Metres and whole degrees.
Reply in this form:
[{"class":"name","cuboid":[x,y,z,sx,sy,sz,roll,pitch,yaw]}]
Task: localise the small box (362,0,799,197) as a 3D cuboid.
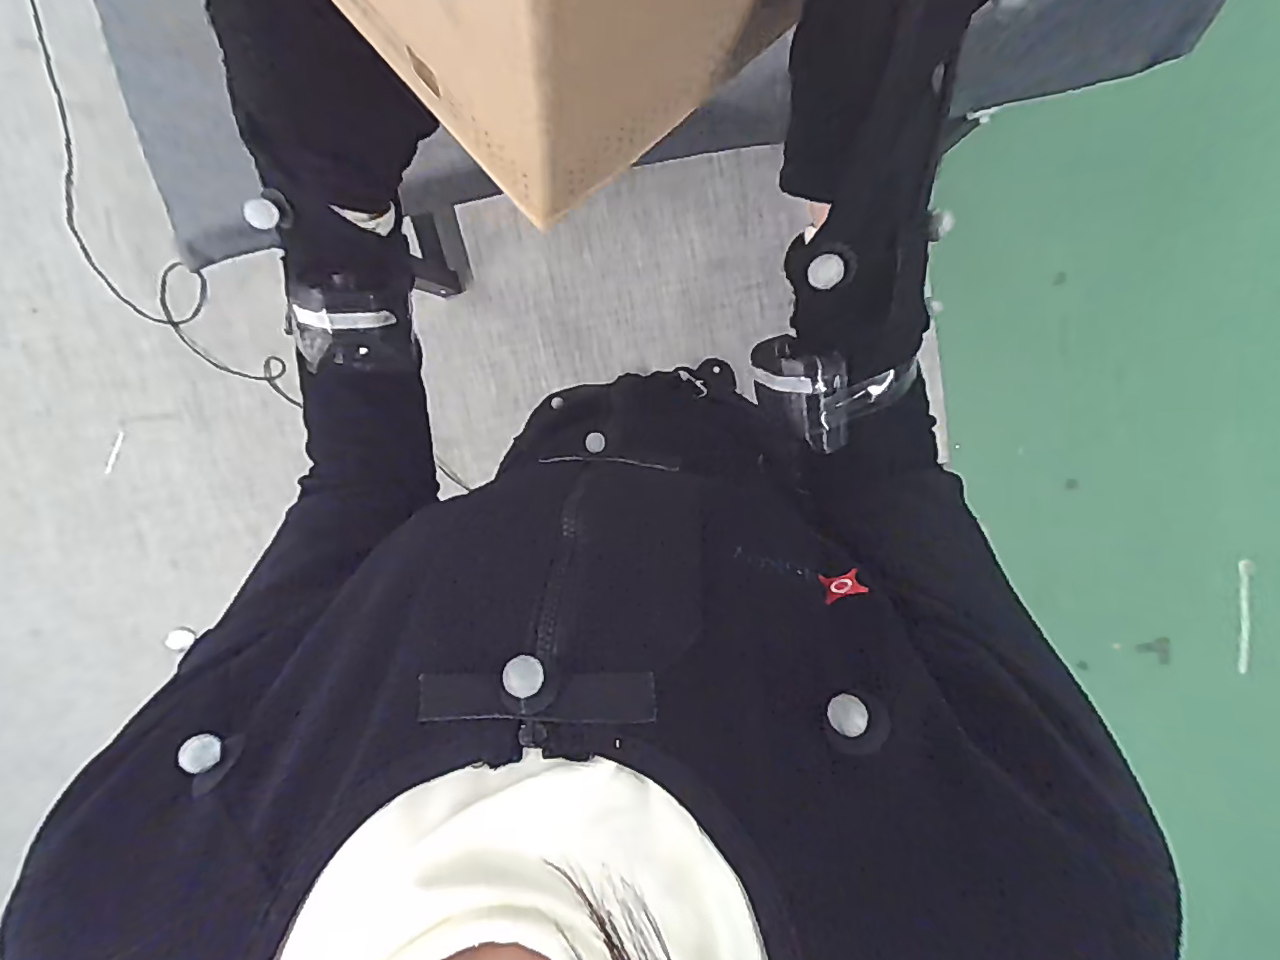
[{"class":"small box","cuboid":[-0.022,-0.228,0.153,0.179,0.176,0.168,-44,95,-8]}]
